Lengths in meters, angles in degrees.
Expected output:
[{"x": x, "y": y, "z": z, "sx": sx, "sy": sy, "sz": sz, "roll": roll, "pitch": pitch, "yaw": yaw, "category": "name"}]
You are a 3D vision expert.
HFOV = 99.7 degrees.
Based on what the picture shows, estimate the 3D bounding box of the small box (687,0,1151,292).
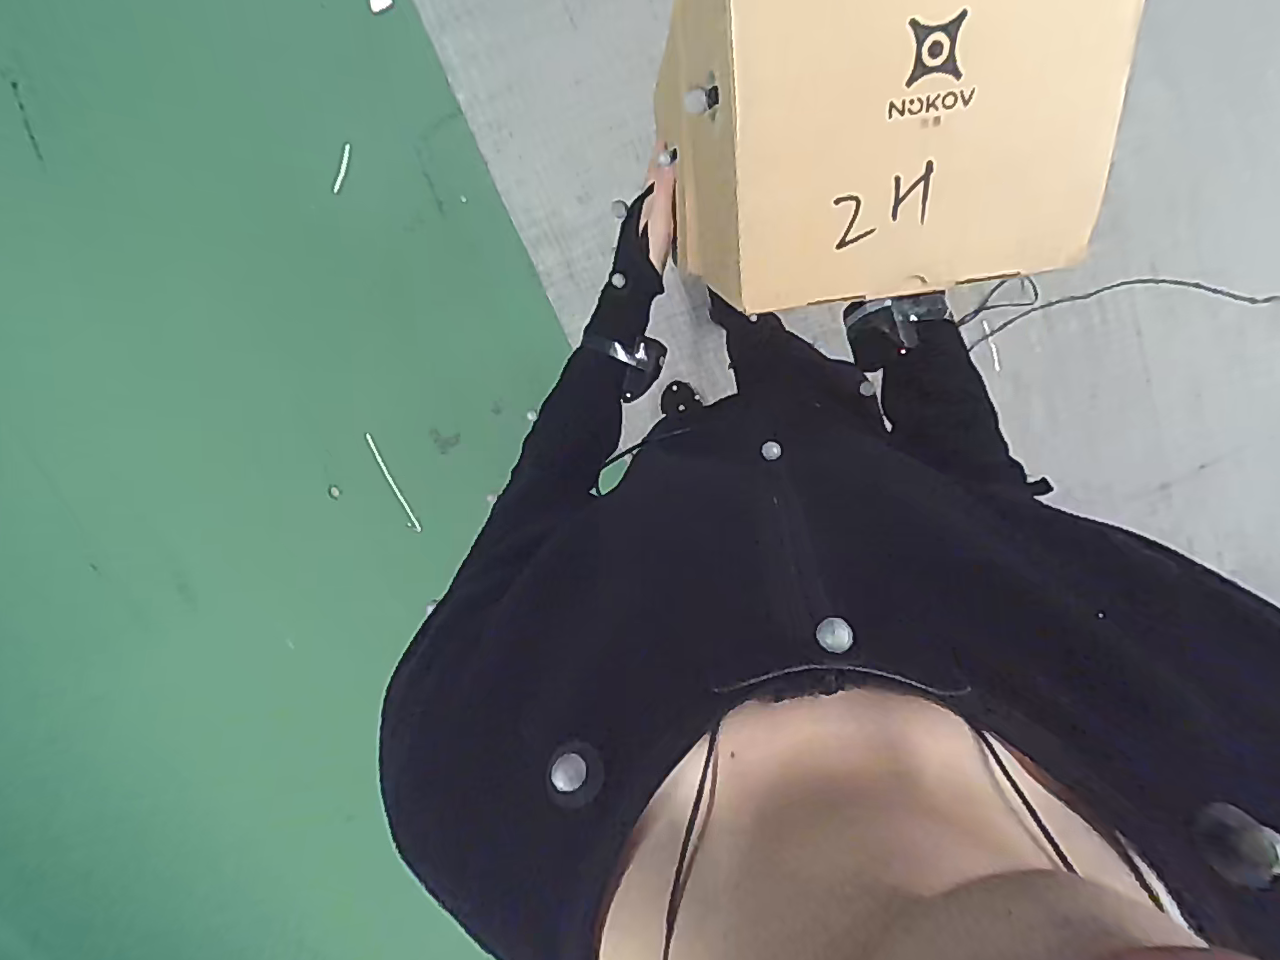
[{"x": 0.119, "y": -0.208, "z": 0.291, "sx": 0.168, "sy": 0.176, "sz": 0.179, "roll": -7, "pitch": 115, "yaw": 3, "category": "small box"}]

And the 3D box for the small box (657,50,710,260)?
[{"x": 0.109, "y": -0.347, "z": 0.590, "sx": 0.168, "sy": 0.176, "sz": 0.179, "roll": -6, "pitch": 115, "yaw": 1, "category": "small box"}]
